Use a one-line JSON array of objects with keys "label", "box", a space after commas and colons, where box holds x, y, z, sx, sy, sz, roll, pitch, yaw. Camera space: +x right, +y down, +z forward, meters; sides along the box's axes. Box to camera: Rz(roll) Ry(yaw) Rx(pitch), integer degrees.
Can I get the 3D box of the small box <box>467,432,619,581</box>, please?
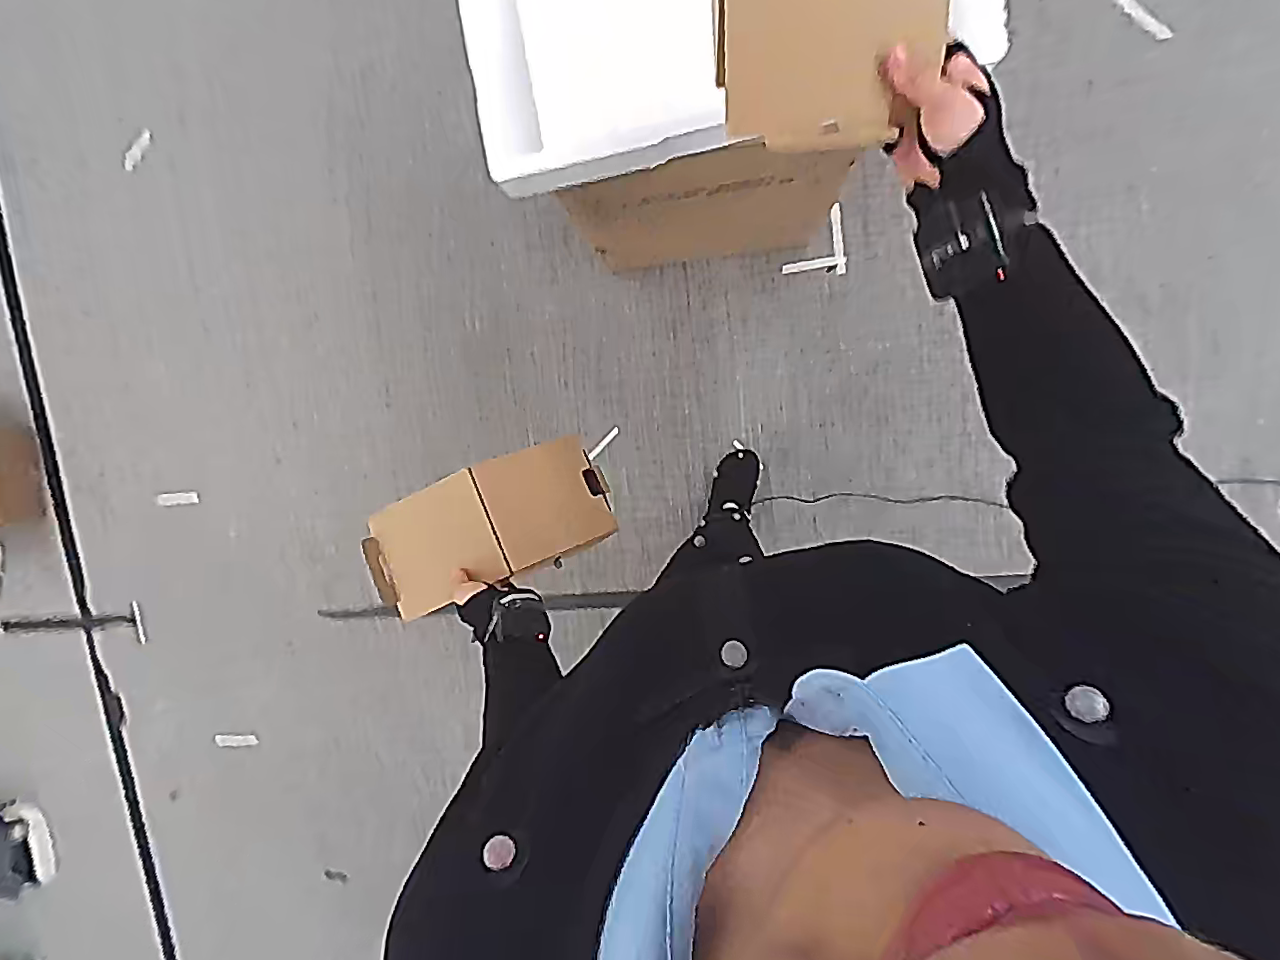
[{"label": "small box", "box": [-0.162, 0.048, 0.846, 0.179, 0.176, 0.168, -19, 82, -27]}]
